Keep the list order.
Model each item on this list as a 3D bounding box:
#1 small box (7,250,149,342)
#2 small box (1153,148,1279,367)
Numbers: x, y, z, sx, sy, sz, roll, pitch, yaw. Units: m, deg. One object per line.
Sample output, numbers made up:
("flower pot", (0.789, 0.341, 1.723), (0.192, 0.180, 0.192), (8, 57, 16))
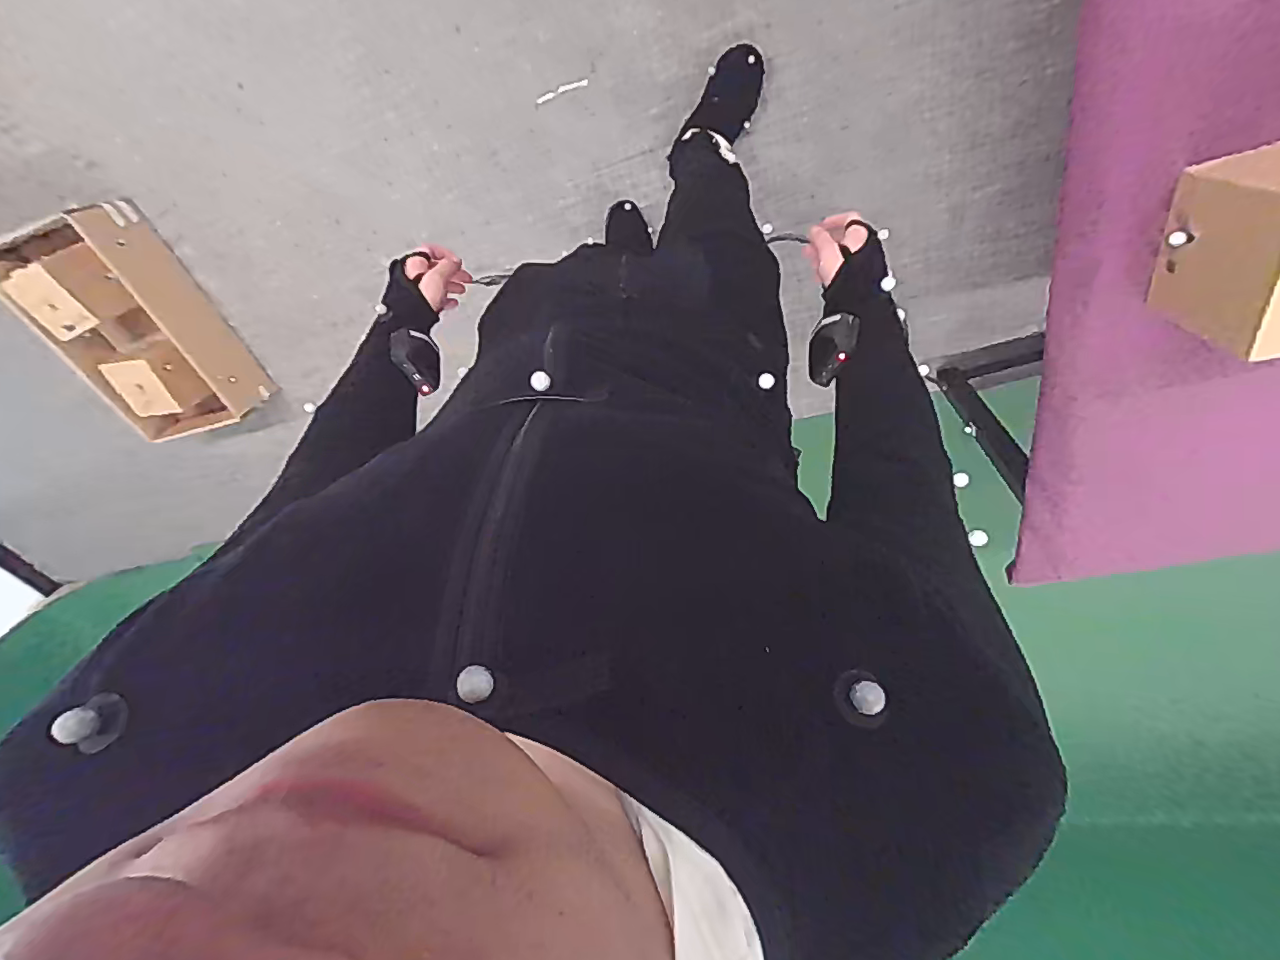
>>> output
("small box", (-1.546, -0.516, 1.499), (0.168, 0.176, 0.179), (-15, 125, 17))
("small box", (0.698, -0.243, 0.553), (0.179, 0.176, 0.168), (-11, 125, 15))
